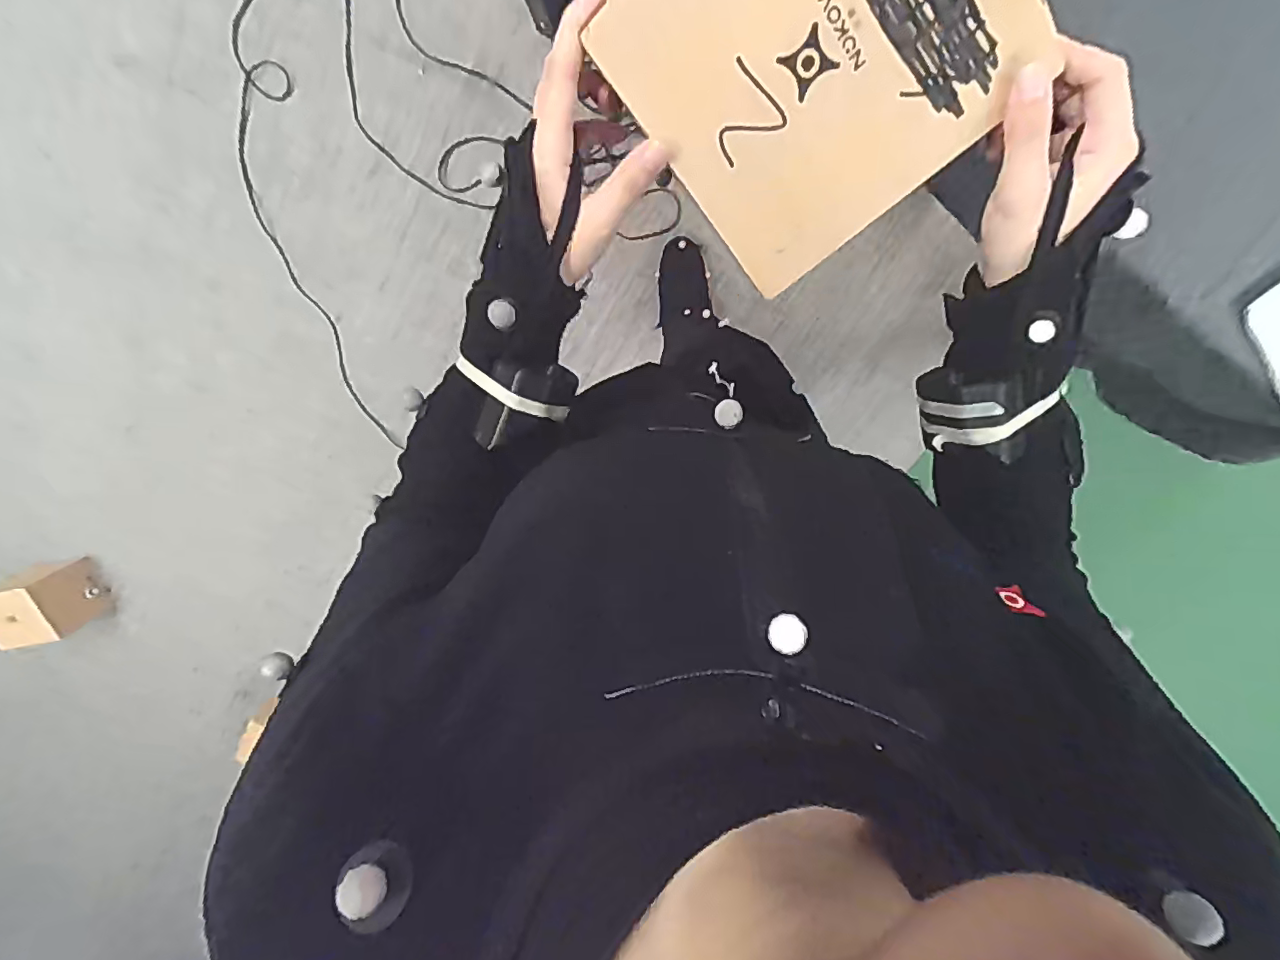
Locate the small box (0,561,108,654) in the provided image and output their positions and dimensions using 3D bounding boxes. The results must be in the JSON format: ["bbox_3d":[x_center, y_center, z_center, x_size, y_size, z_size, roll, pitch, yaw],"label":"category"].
[{"bbox_3d":[-1.607,0.336,1.443,0.179,0.176,0.168,-11,111,4],"label":"small box"}]

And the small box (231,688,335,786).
[{"bbox_3d":[-1.041,0.750,1.590,0.179,0.176,0.168,28,108,-9],"label":"small box"}]
